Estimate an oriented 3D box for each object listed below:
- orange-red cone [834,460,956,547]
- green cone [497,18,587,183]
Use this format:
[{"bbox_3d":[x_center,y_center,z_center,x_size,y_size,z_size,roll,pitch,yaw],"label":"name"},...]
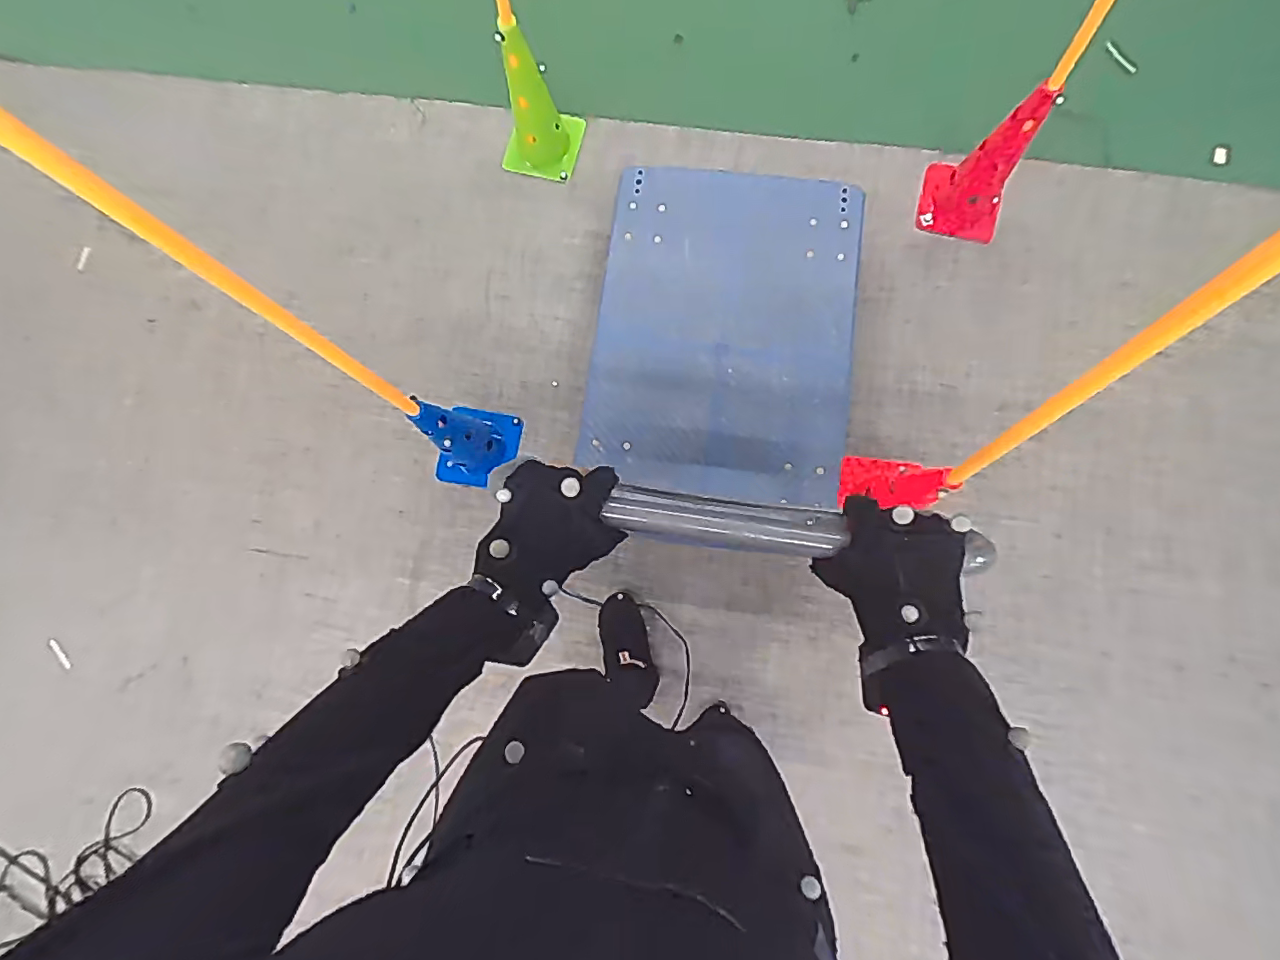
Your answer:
[{"bbox_3d":[0.568,0.029,1.156,0.199,0.360,0.198,9,81,6],"label":"orange-red cone"},{"bbox_3d":[-0.276,-0.965,1.354,0.202,0.368,0.200,14,82,6],"label":"green cone"}]
